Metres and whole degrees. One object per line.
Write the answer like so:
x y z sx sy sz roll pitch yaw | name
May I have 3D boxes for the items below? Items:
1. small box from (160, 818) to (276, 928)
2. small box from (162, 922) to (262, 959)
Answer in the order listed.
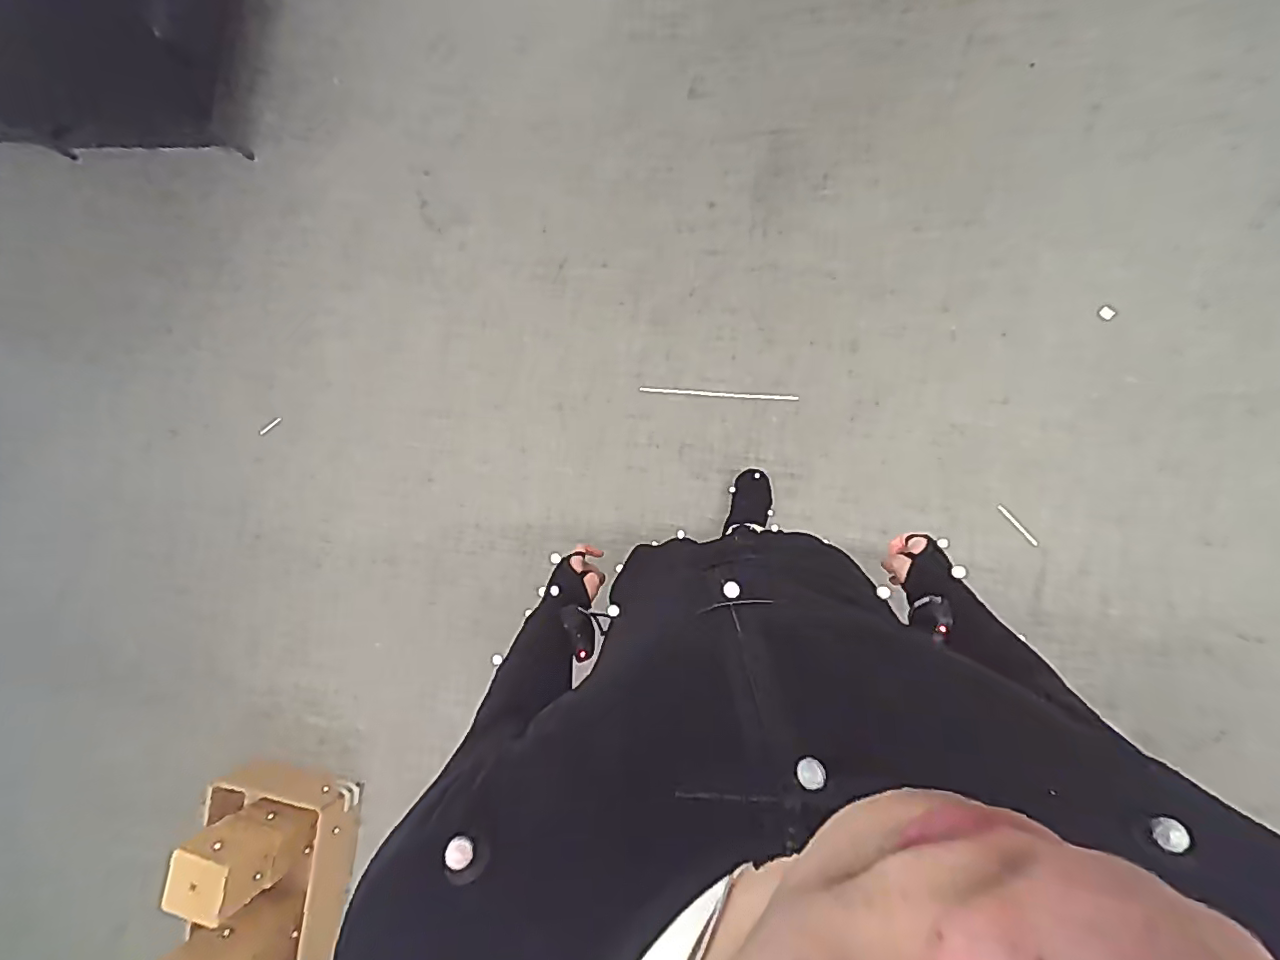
-1.174 1.086 1.514 0.179 0.176 0.168 11 89 8 | small box
-1.203 1.385 1.503 0.179 0.176 0.168 5 88 10 | small box
